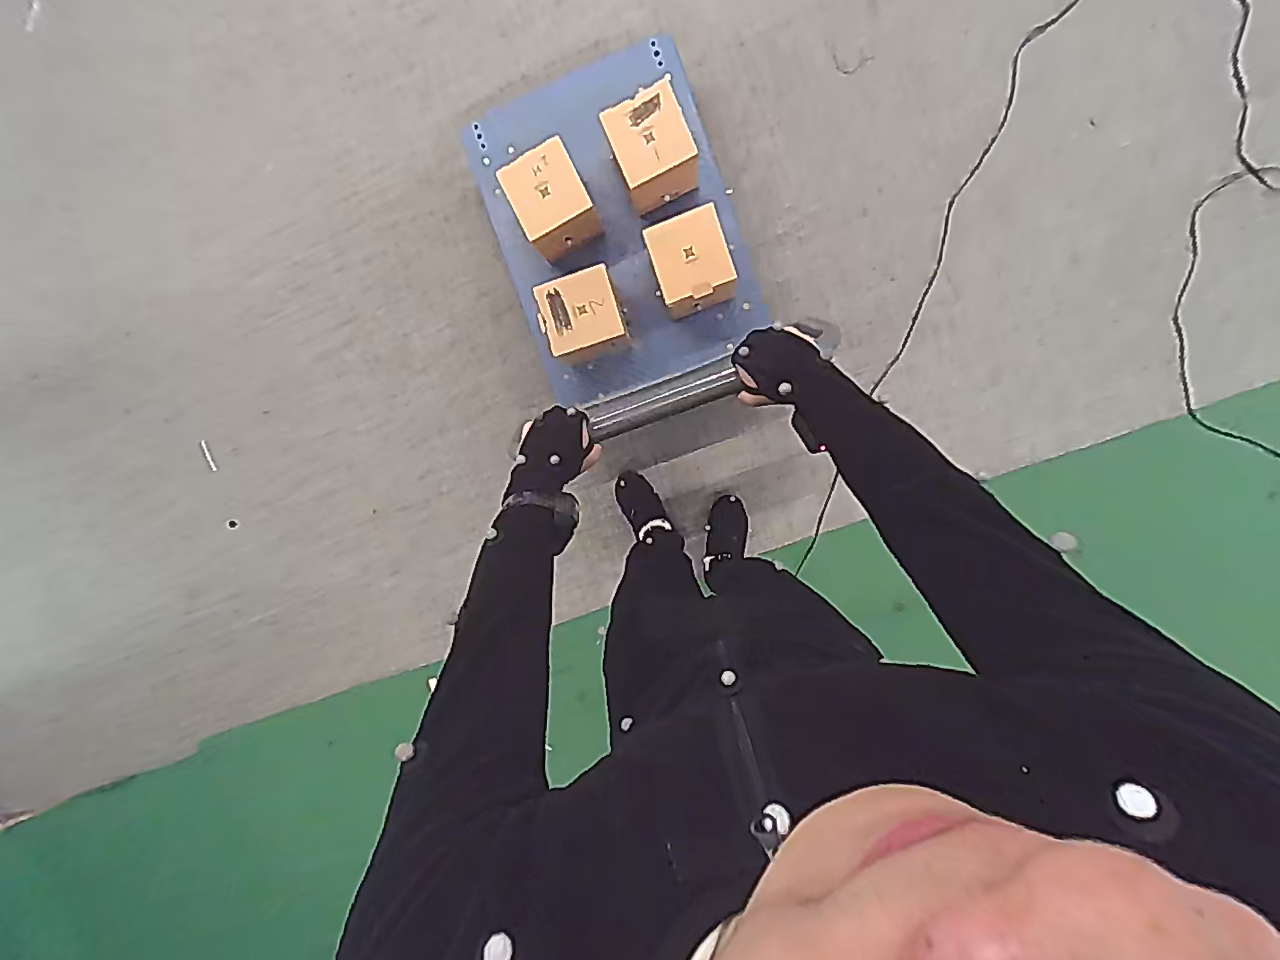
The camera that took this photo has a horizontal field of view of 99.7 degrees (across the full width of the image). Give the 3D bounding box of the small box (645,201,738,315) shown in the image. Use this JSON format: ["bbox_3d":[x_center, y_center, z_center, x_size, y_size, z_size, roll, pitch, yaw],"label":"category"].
[{"bbox_3d":[0.119,-0.509,1.263,0.168,0.176,0.179,-19,95,7],"label":"small box"}]

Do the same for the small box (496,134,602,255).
[{"bbox_3d":[-0.205,-0.658,1.279,0.168,0.176,0.179,-26,93,7],"label":"small box"}]

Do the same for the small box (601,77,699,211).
[{"bbox_3d":[0.027,-0.760,1.244,0.168,0.176,0.179,-23,94,8],"label":"small box"}]
